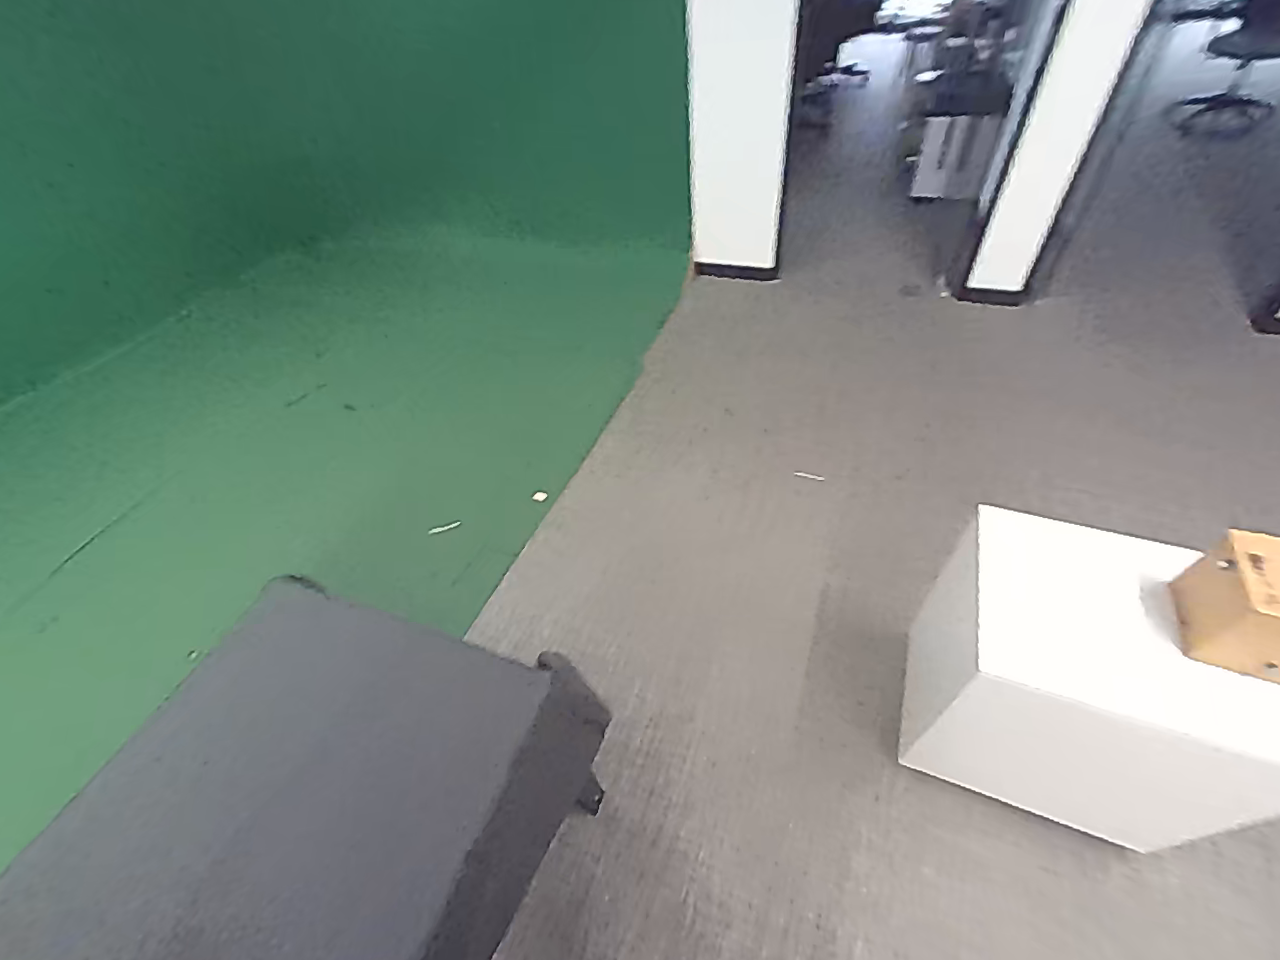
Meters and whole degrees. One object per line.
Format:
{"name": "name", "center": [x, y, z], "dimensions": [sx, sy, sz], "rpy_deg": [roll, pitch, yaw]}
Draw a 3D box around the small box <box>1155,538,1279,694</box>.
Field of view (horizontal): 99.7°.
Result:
{"name": "small box", "center": [1.019, 0.229, 0.895], "dimensions": [0.179, 0.176, 0.168], "rpy_deg": [16, 50, 18]}
